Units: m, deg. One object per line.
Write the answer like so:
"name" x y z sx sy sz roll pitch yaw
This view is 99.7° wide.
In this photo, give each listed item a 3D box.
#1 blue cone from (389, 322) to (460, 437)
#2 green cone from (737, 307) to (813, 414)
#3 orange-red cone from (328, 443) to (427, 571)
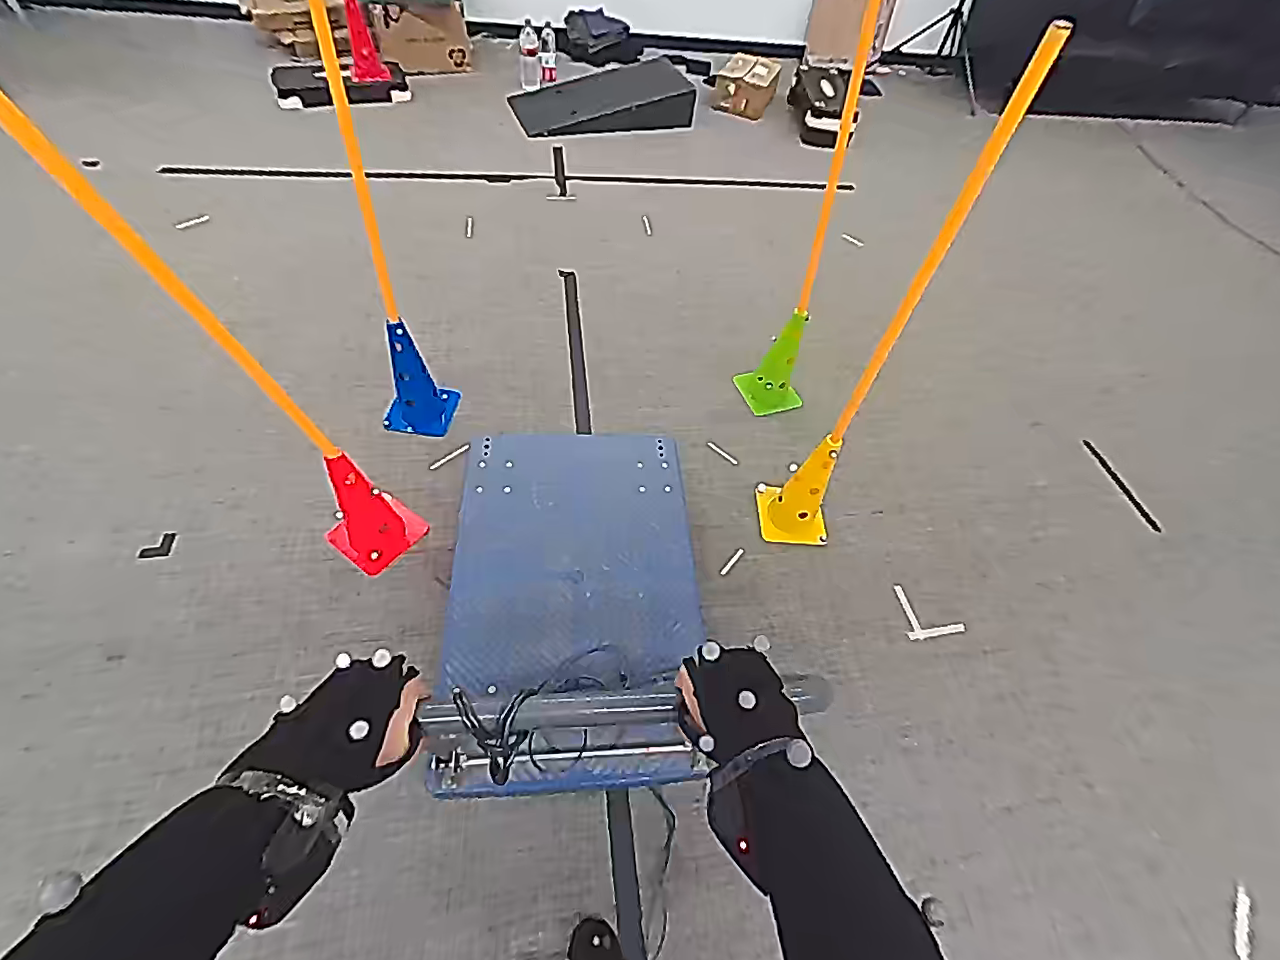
"blue cone" -0.673 -0.316 1.604 0.193 0.380 0.192 9 55 -1
"green cone" 0.487 -0.421 1.807 0.200 0.368 0.202 -15 59 -17
"orange-red cone" -0.690 0.034 1.332 0.198 0.360 0.199 35 56 16
